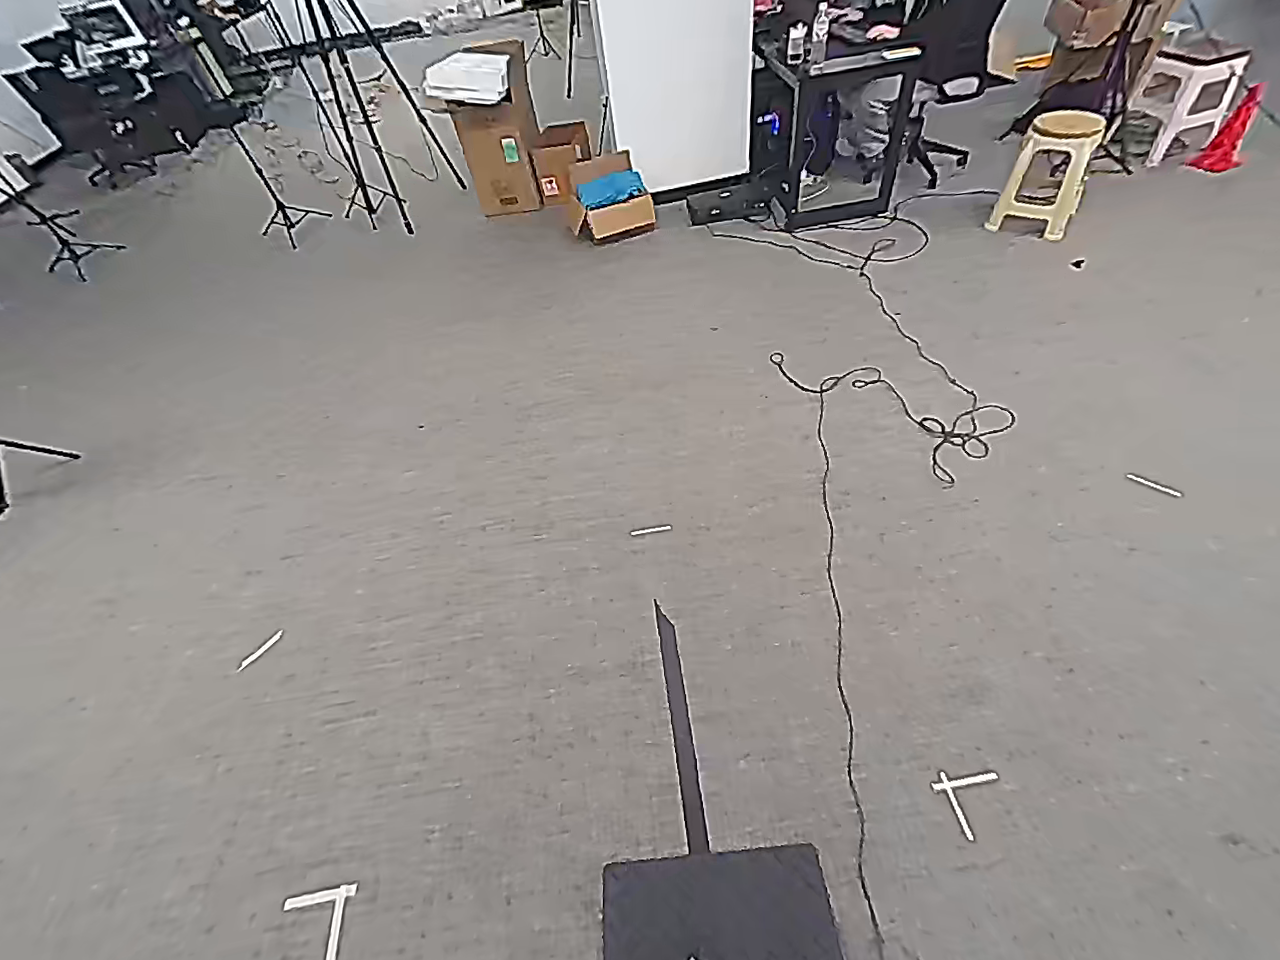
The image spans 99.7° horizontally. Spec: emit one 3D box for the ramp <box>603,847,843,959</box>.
[{"bbox_3d":[0.179,1.180,0.853,0.509,0.206,0.991,-10,48,3],"label":"ramp"}]
